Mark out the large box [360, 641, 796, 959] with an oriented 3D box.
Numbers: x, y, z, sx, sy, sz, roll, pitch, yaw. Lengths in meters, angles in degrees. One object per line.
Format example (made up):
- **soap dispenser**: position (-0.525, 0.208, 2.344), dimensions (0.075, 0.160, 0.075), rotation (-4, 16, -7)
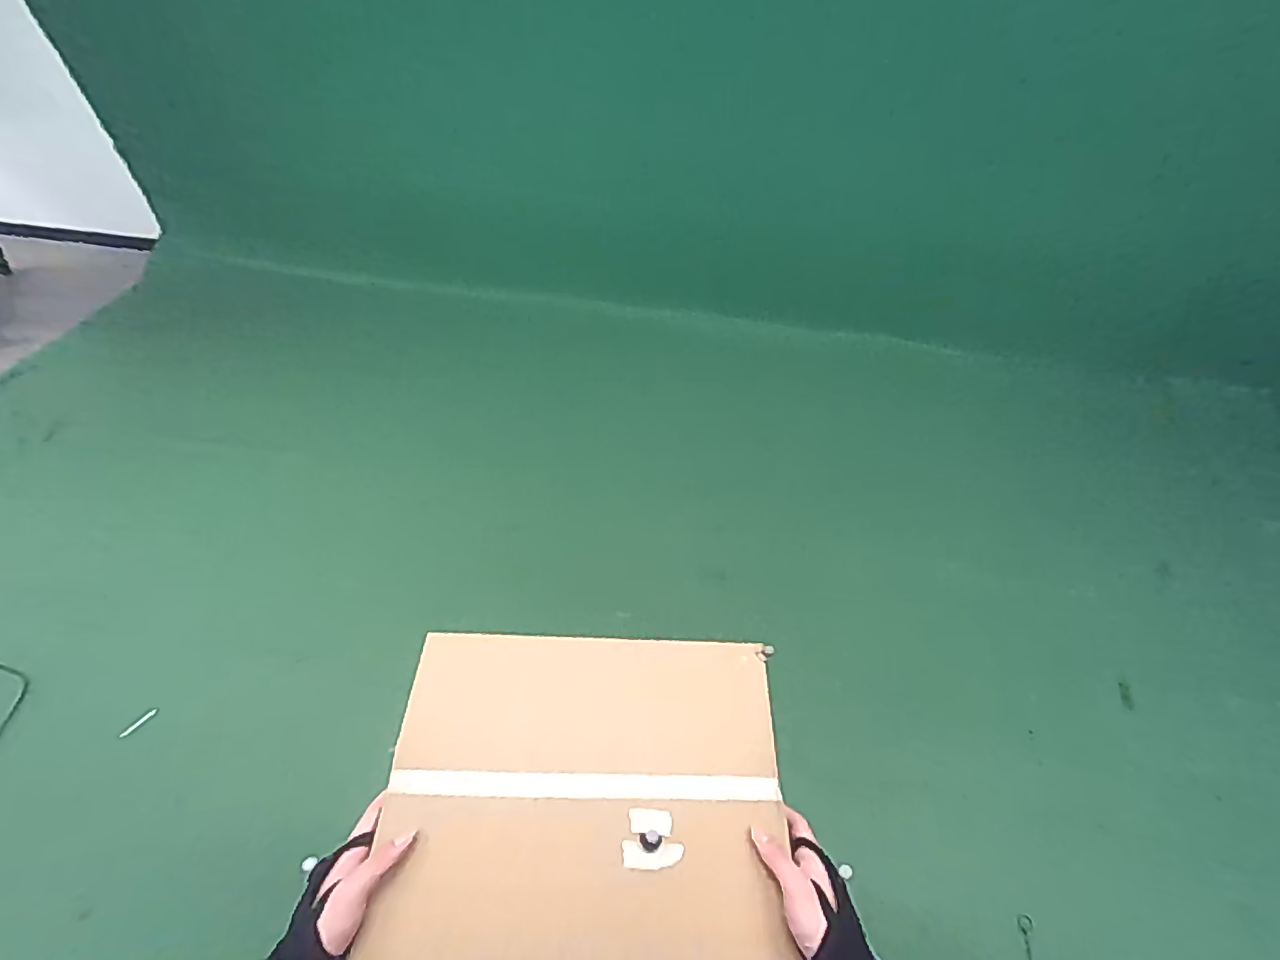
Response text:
- **large box**: position (-0.063, 0.414, 0.689), dimensions (0.408, 0.320, 0.320), rotation (3, 54, -2)
